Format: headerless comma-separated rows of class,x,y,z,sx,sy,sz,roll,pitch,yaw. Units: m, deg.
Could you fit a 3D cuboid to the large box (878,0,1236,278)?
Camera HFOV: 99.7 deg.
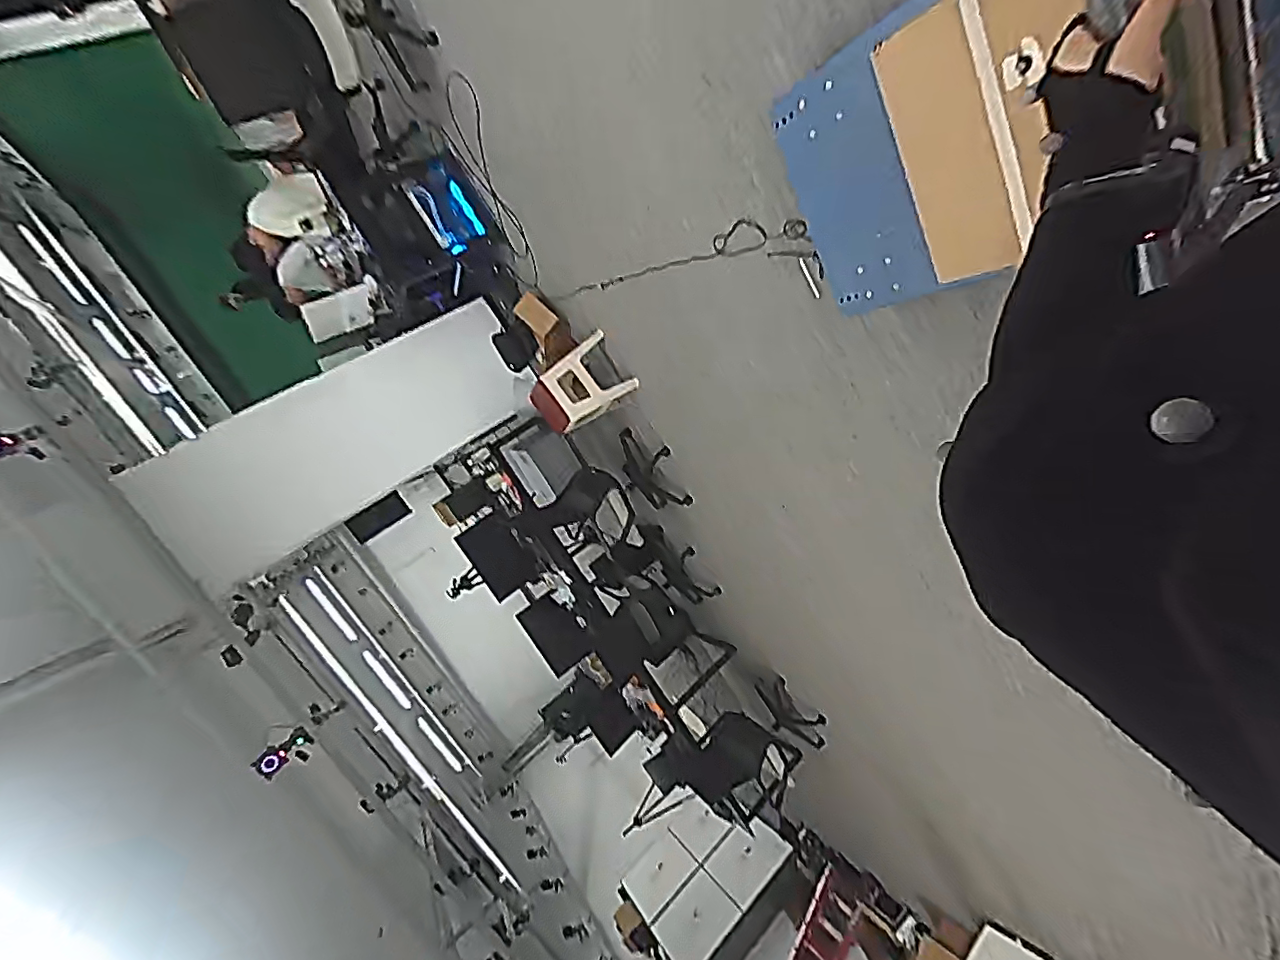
large box,0.664,-0.609,0.866,0.320,0.320,0.408,4,125,60
